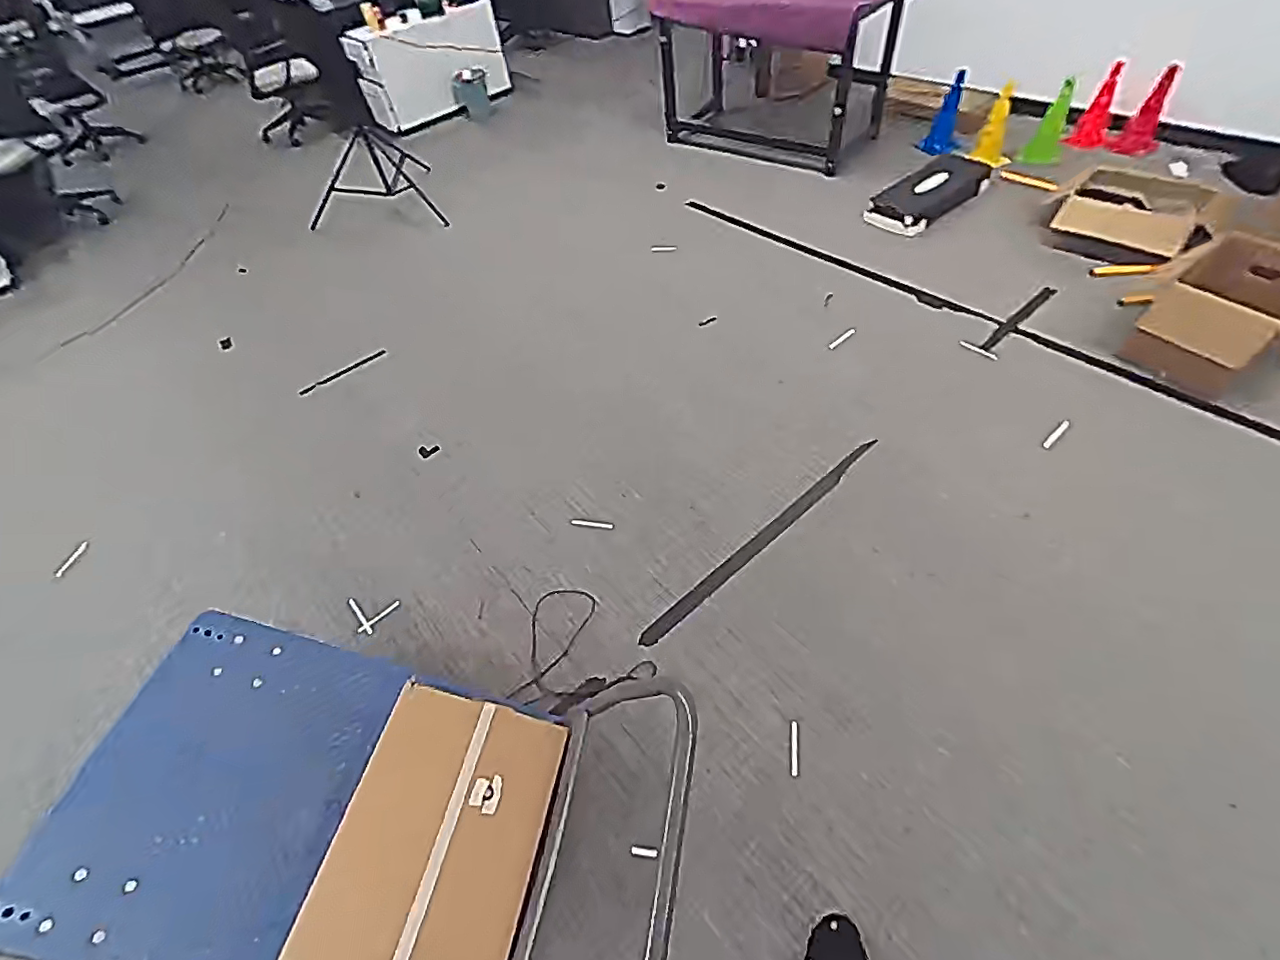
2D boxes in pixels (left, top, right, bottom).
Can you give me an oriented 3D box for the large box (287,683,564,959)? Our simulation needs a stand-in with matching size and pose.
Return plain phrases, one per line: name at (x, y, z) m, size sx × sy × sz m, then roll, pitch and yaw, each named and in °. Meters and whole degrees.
large box at (-0.367, 0.653, 1.003) m, size 0.320 × 0.320 × 0.408 m, roll 21°, pitch 52°, yaw -10°
